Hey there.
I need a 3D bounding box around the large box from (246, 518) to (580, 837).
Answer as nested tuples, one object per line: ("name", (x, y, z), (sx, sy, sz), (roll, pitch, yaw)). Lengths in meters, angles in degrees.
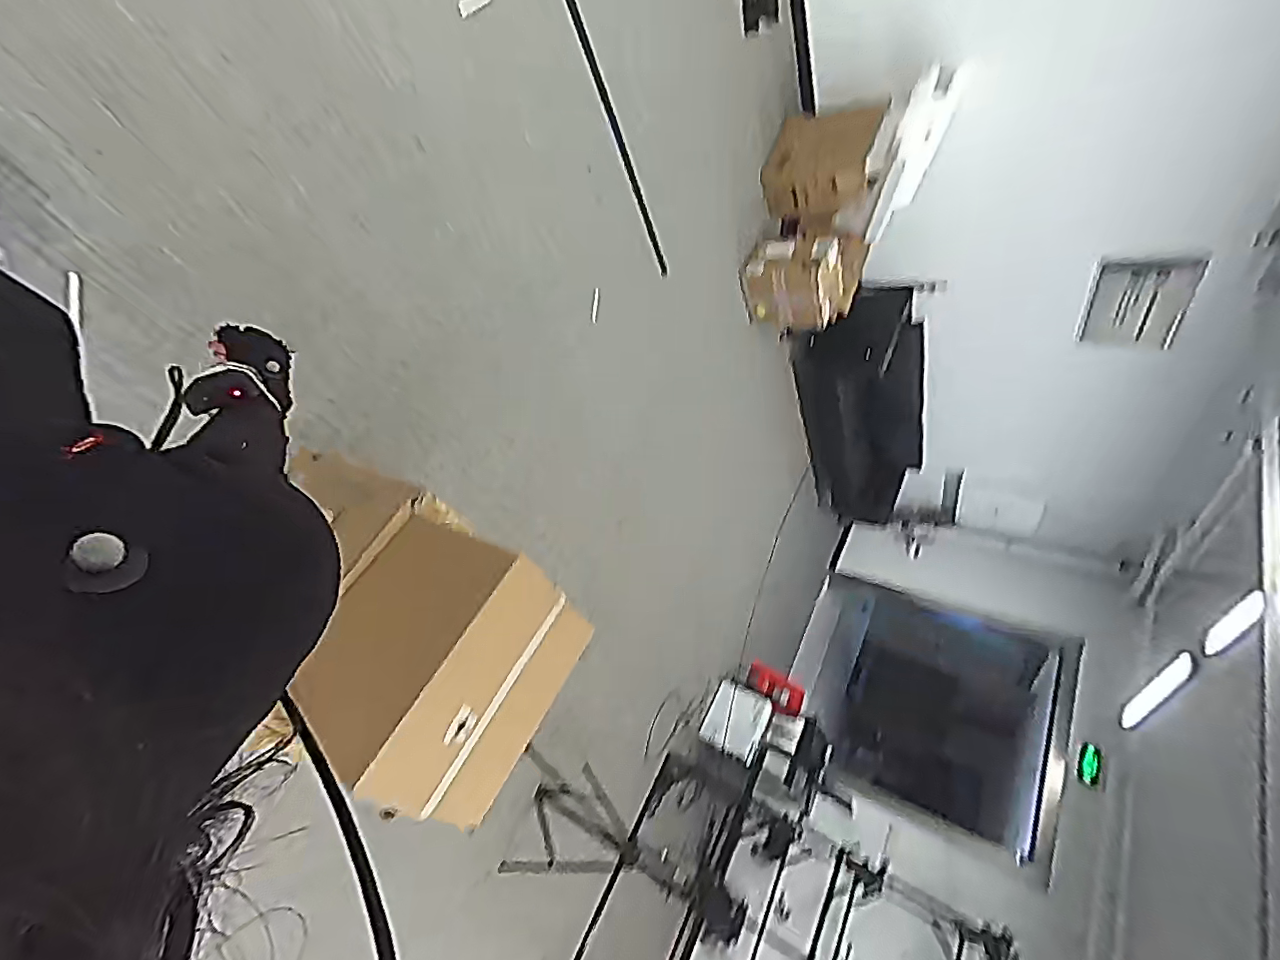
("large box", (-0.385, 0.342, 0.993), (0.408, 0.320, 0.320), (-56, 142, -26))
